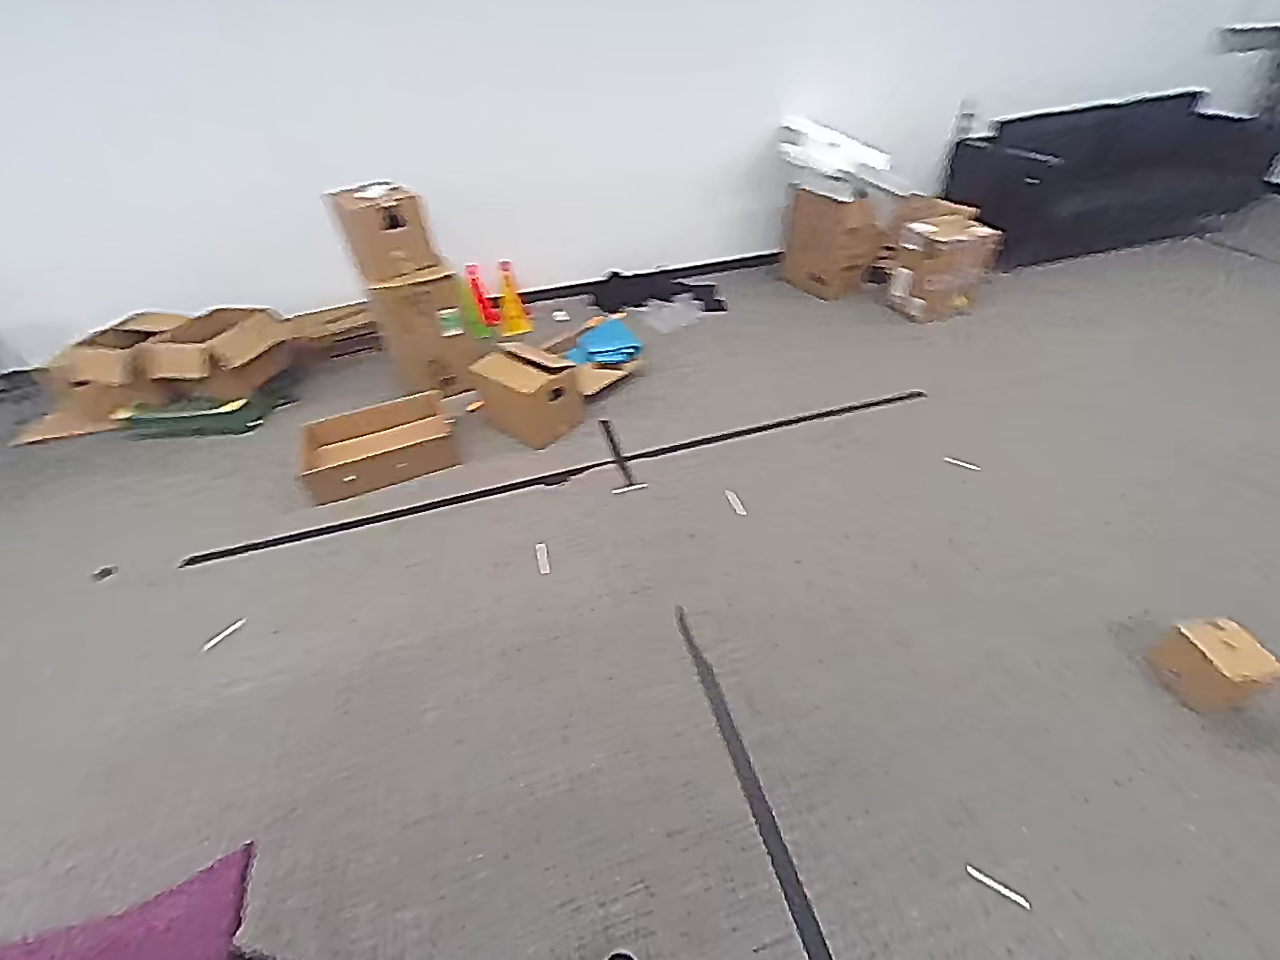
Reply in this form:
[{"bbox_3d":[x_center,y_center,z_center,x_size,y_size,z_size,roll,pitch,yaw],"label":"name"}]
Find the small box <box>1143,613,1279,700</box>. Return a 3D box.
[{"bbox_3d":[1.598,0.502,1.522,0.168,0.176,0.179,-5,41,-1],"label":"small box"}]
